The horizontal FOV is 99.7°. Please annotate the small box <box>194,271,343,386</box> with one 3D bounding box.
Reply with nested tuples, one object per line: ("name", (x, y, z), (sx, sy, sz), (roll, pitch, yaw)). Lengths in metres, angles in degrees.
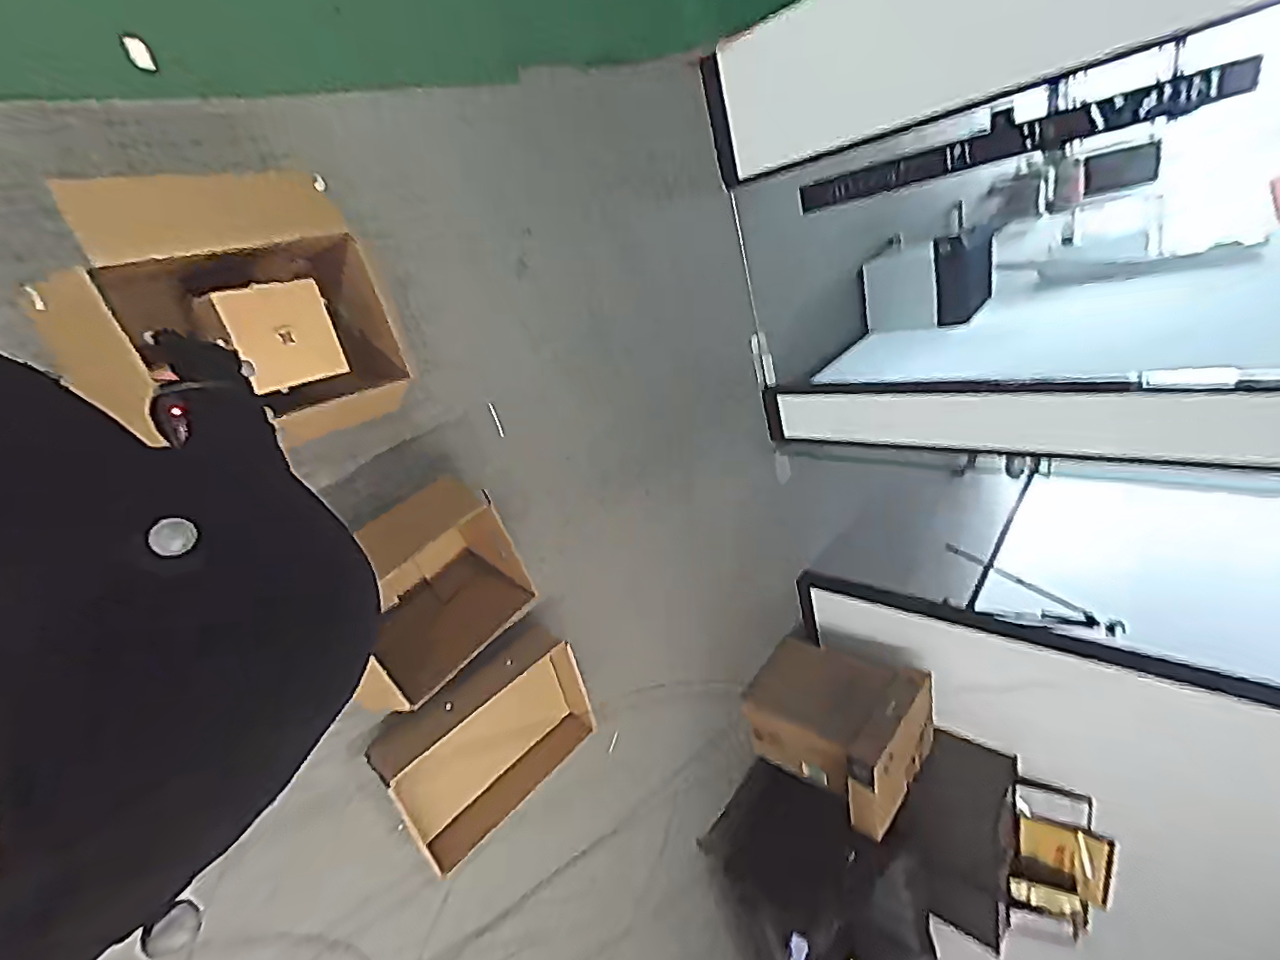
("small box", (-0.705, -0.286, 1.028), (0.168, 0.176, 0.179), (-31, 119, -40))
